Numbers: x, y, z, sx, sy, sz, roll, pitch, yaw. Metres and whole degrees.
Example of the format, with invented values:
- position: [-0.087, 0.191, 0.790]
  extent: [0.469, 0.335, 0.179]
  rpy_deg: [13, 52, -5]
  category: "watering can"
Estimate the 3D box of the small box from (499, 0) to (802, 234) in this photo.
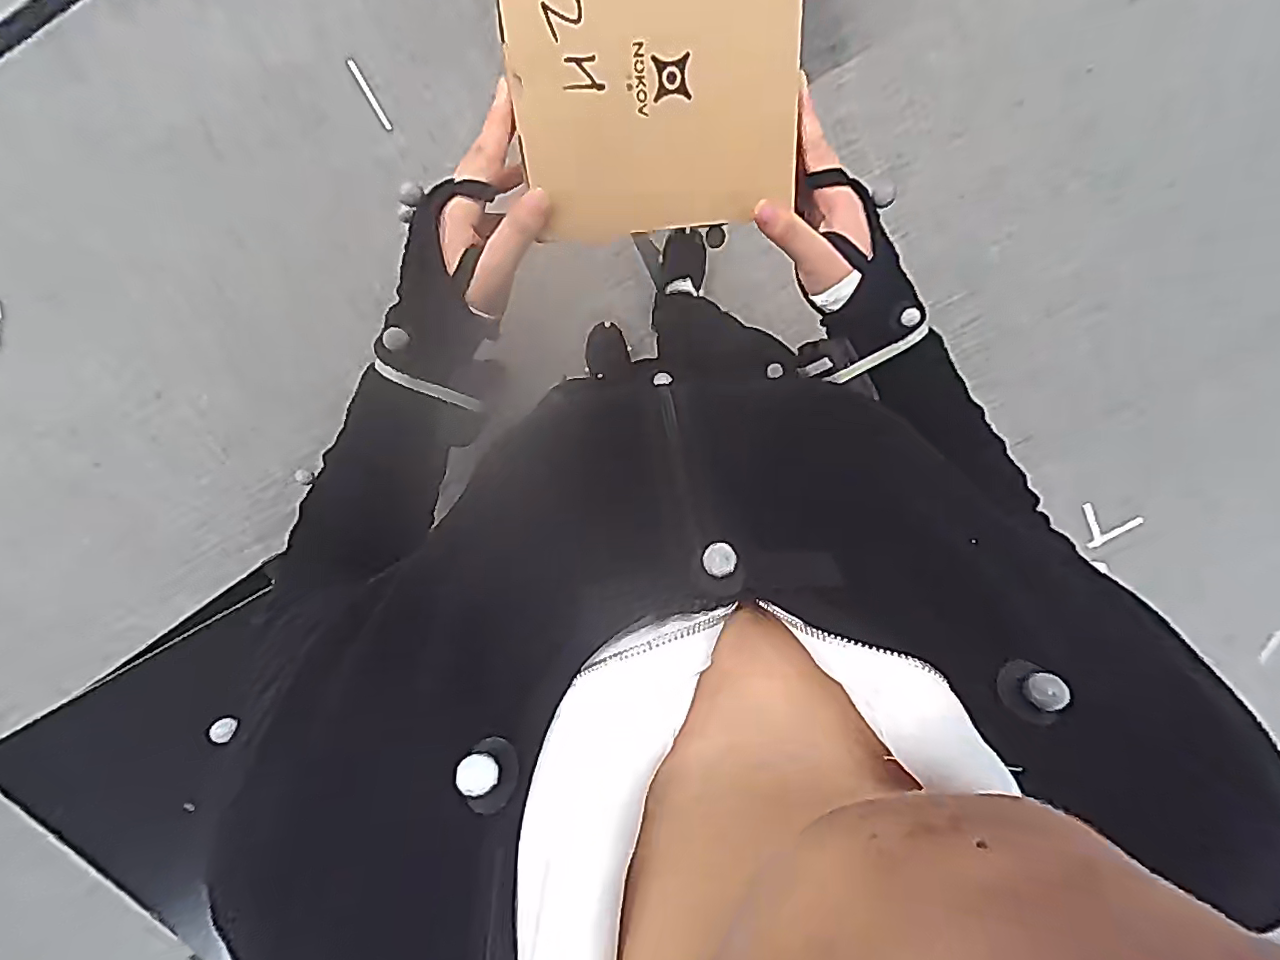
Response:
- position: [0.002, -0.279, 0.391]
  extent: [0.179, 0.176, 0.168]
  rpy_deg: [-7, 117, -3]
  category: "small box"
